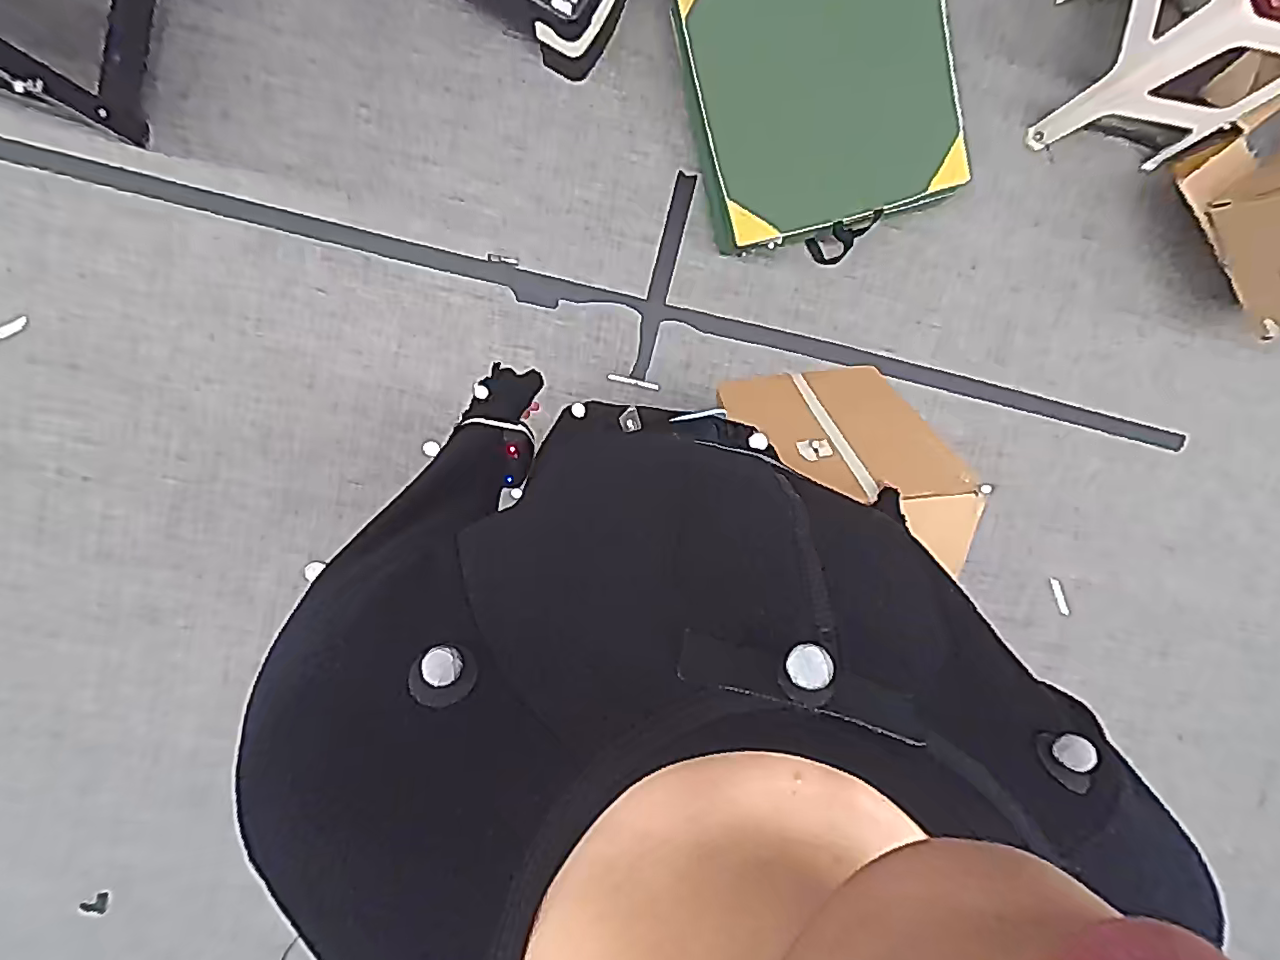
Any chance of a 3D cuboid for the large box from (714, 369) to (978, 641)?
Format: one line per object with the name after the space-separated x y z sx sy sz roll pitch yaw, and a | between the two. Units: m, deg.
0.325 0.032 1.009 0.320 0.408 0.320 -7 128 1 | large box
